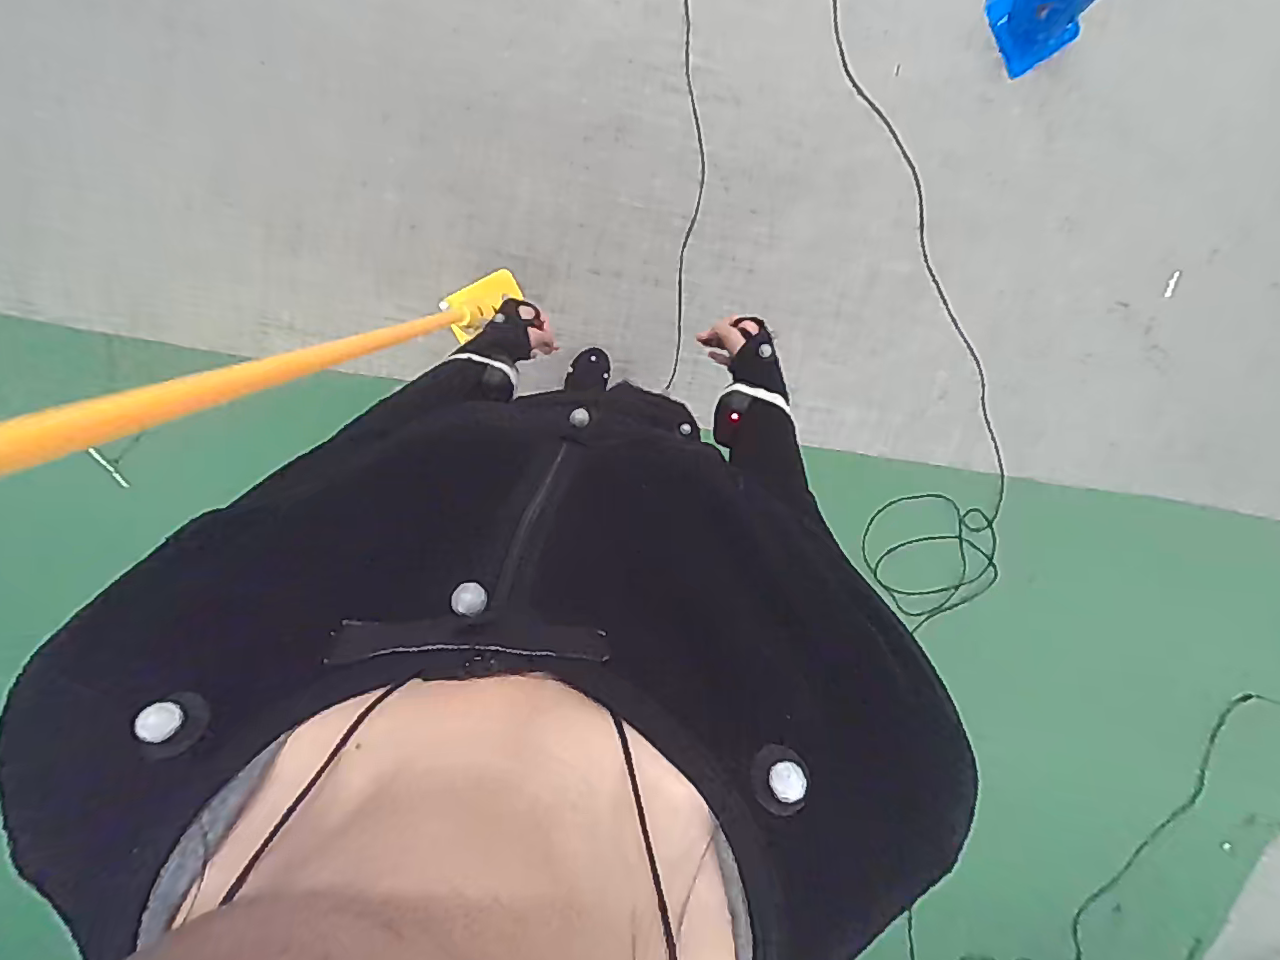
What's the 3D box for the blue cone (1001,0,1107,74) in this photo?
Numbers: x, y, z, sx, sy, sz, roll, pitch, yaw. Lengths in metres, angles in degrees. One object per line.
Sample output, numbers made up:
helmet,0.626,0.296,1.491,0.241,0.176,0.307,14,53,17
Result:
blue cone,0.983,-1.071,1.132,0.193,0.380,0.192,-35,104,3
